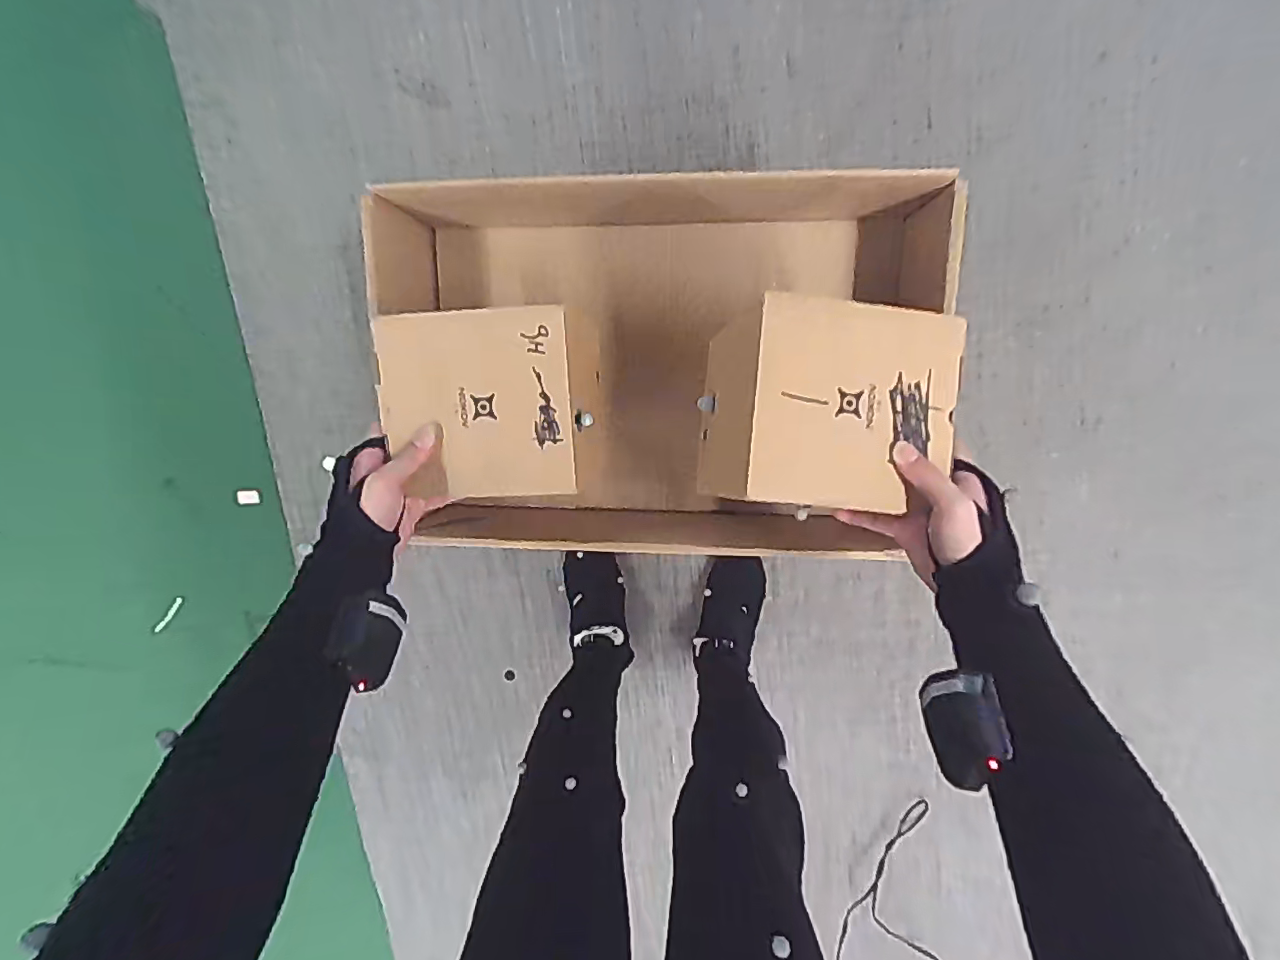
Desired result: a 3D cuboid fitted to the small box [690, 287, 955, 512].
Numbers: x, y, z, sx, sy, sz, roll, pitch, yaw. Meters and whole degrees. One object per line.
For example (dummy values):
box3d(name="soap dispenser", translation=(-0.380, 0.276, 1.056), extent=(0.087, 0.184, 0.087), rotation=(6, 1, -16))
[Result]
box3d(name="small box", translation=(0.157, -0.063, 0.514), extent=(0.179, 0.176, 0.168), rotation=(5, 89, -7))

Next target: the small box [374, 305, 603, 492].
box3d(name="small box", translation=(-0.141, -0.083, 0.564), extent=(0.179, 0.176, 0.168), rotation=(-1, 100, 6))
